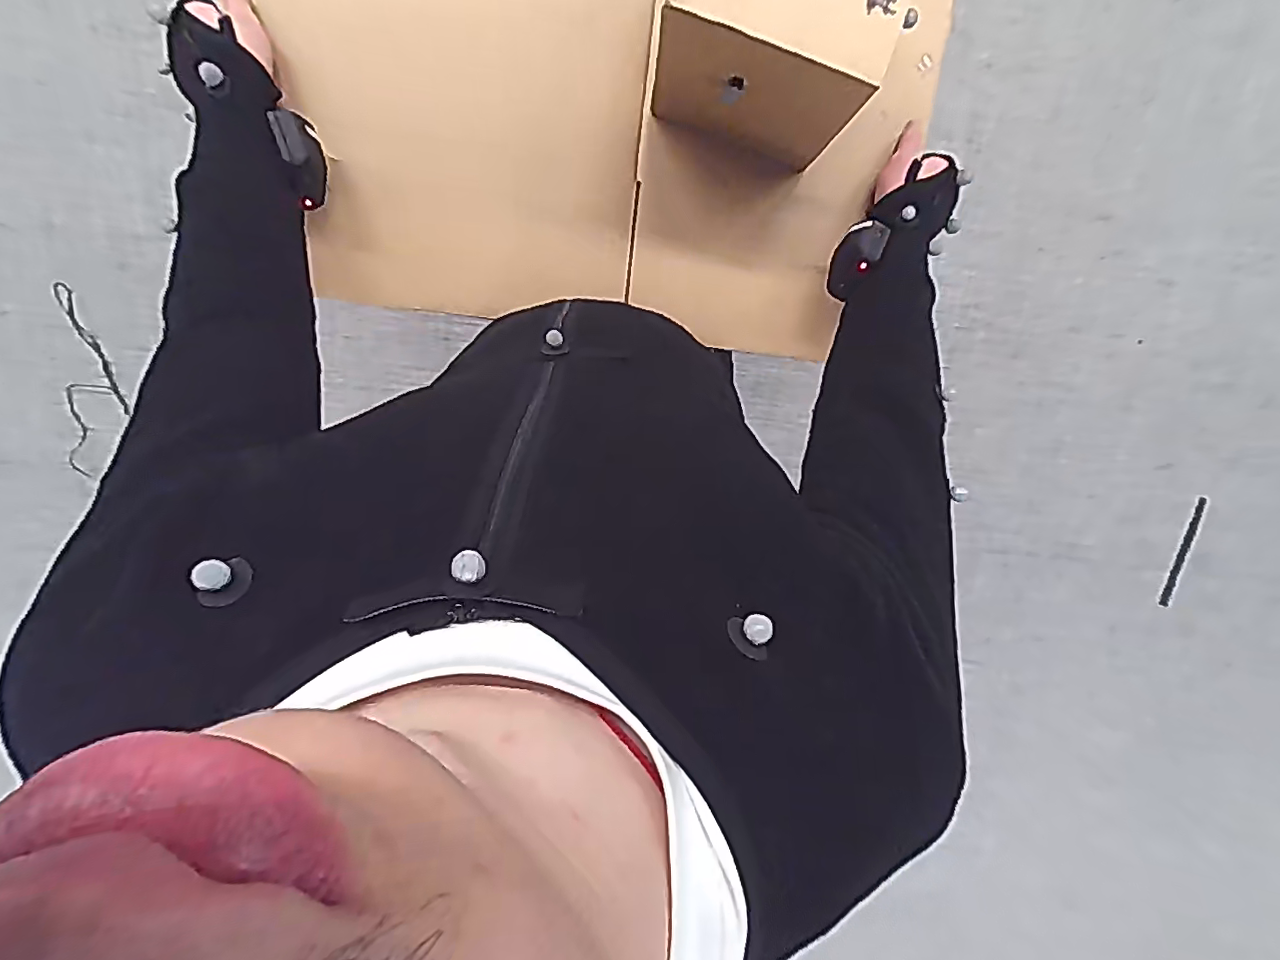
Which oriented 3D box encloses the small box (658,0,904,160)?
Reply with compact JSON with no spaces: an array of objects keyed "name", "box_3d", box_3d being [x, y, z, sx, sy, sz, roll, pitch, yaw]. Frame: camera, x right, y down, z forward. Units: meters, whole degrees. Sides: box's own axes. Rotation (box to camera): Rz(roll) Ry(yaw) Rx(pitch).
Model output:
[{"name":"small box","box_3d":[0.121,-0.417,0.475,0.179,0.176,0.168,17,100,-5]}]
